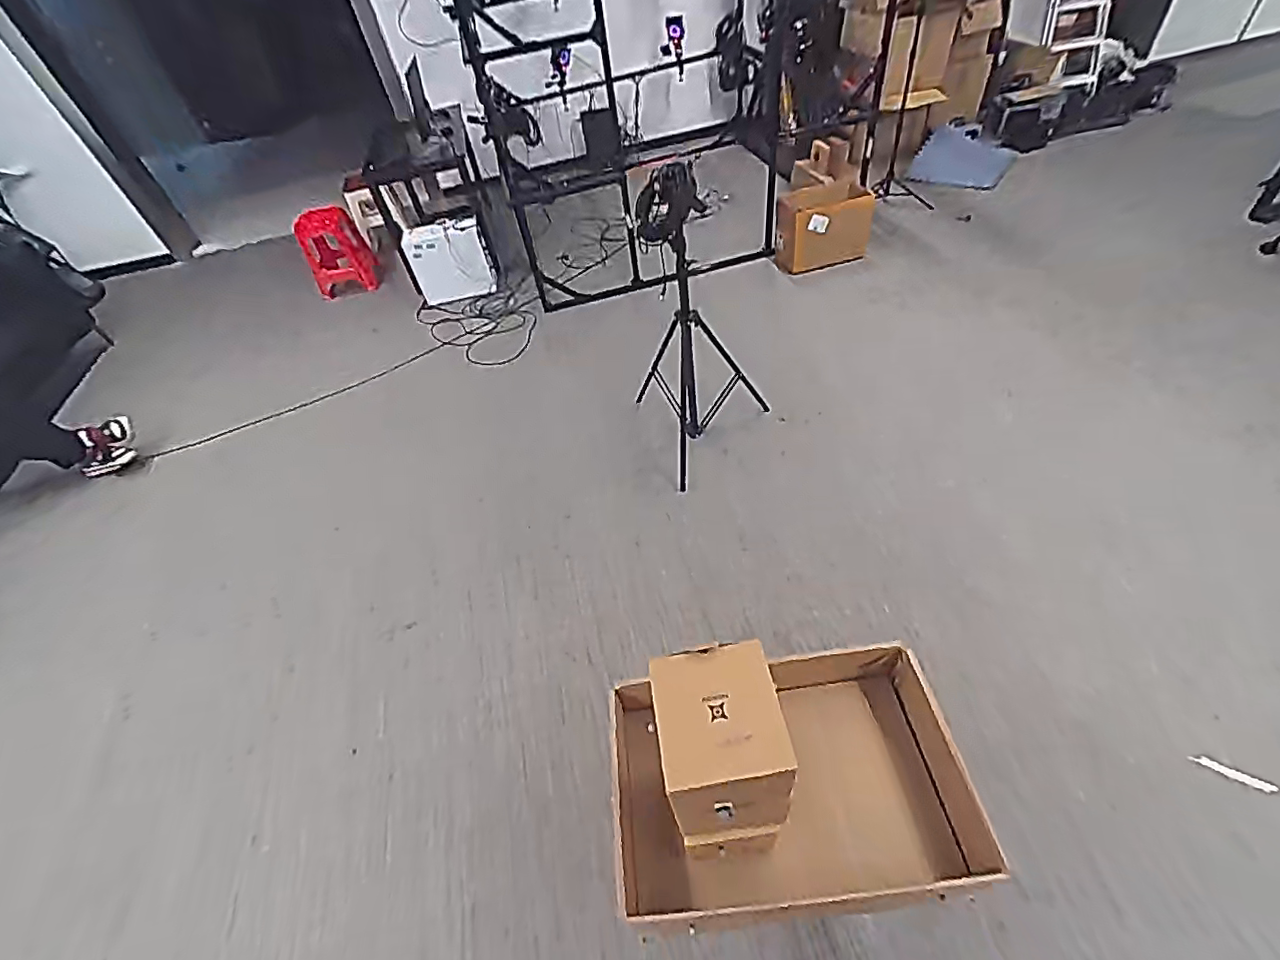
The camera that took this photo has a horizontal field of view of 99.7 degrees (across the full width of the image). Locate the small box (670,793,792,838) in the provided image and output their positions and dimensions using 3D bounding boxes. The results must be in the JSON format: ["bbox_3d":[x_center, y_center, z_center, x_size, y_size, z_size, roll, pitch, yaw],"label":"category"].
[{"bbox_3d":[0.136,0.465,0.881,0.179,0.176,0.168,-8,47,1],"label":"small box"}]

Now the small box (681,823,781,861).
[{"bbox_3d":[0.153,0.582,0.996,0.168,0.176,0.179,-9,46,0],"label":"small box"}]

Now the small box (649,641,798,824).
[{"bbox_3d":[0.110,0.356,0.761,0.168,0.176,0.179,-11,46,1],"label":"small box"}]
